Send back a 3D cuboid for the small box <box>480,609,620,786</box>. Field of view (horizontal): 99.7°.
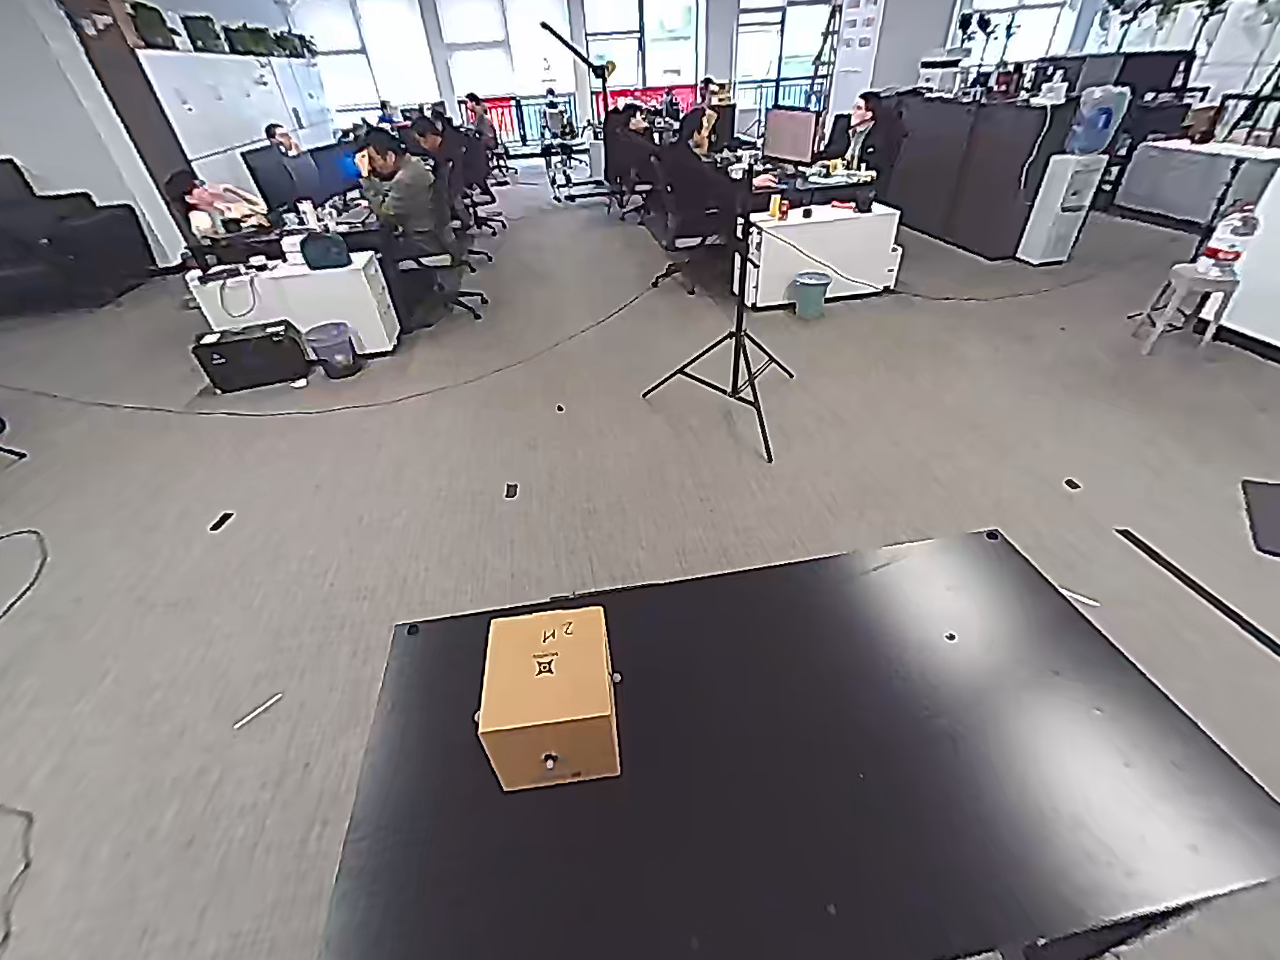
[{"bbox_3d":[-0.122,0.317,0.782,0.168,0.176,0.179,-7,37,-4],"label":"small box"}]
